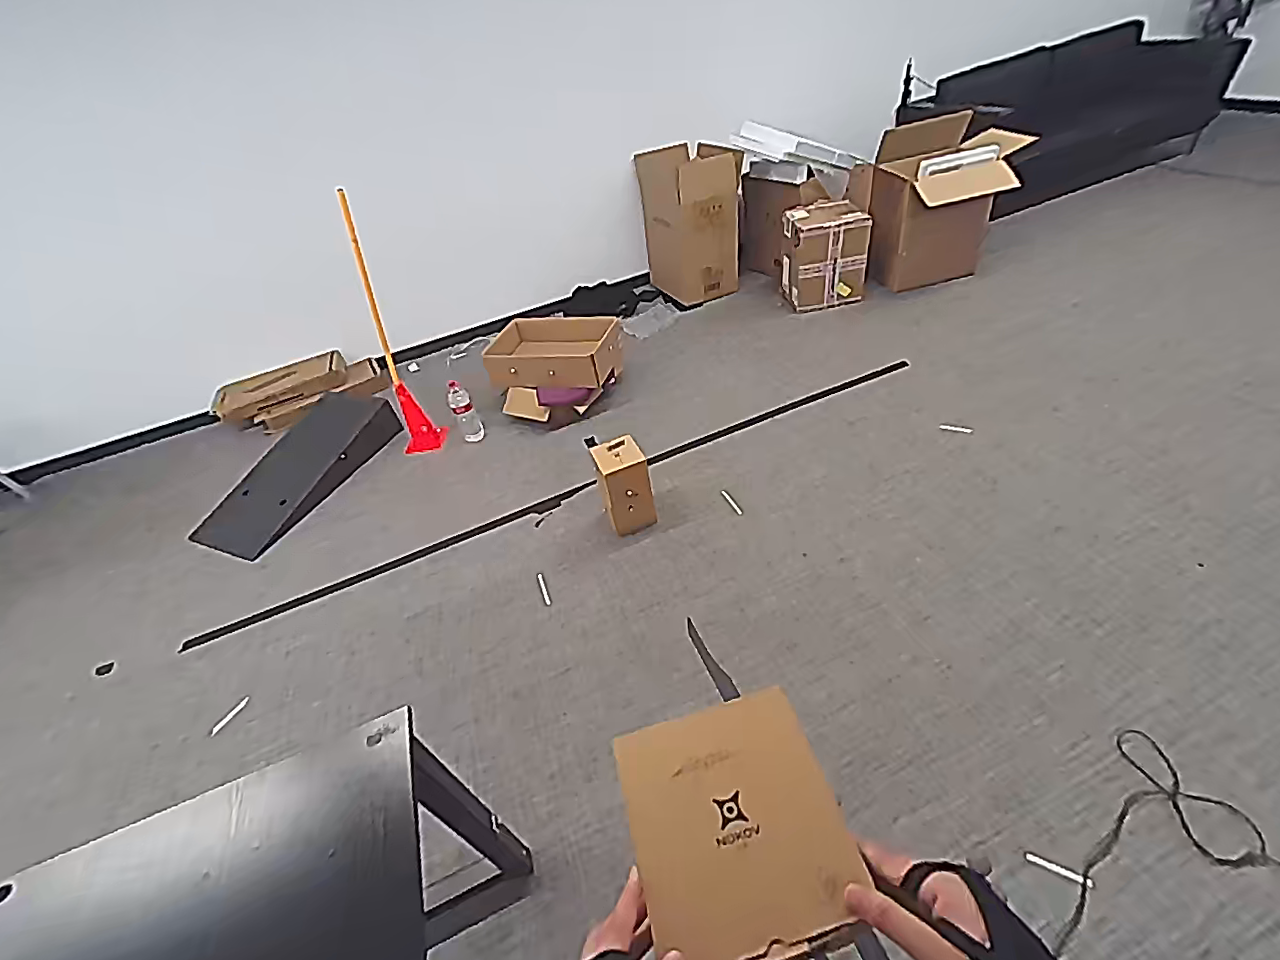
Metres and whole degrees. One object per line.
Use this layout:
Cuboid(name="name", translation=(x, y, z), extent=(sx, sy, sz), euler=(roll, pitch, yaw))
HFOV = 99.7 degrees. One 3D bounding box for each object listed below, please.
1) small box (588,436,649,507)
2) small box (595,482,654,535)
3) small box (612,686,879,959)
Cuboid(name="small box", translation=(-0.079, -0.031, 2.020), extent=(0.168, 0.176, 0.179), euler=(-21, 43, -11))
Cuboid(name="small box", translation=(-0.060, 0.088, 2.131), extent=(0.179, 0.176, 0.168), euler=(-20, 42, -11))
Cuboid(name="small box", translation=(0.083, 0.325, 0.489), extent=(0.168, 0.176, 0.179), euler=(-15, 44, -6))
